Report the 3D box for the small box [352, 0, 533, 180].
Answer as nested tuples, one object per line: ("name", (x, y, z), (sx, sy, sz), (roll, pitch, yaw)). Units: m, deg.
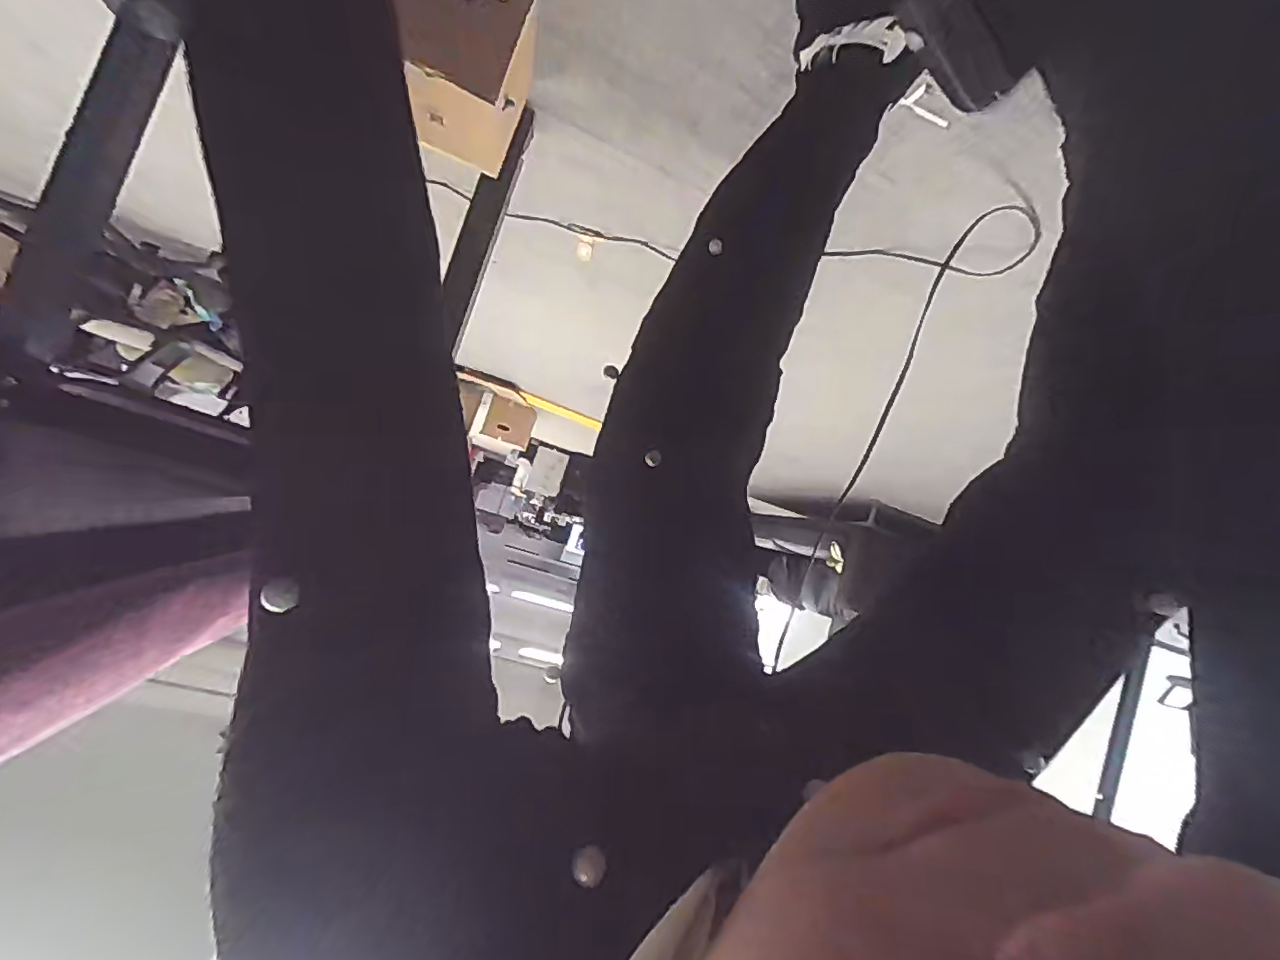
("small box", (-0.250, -0.556, 0.723), (0.168, 0.176, 0.179), (19, 175, -13))
